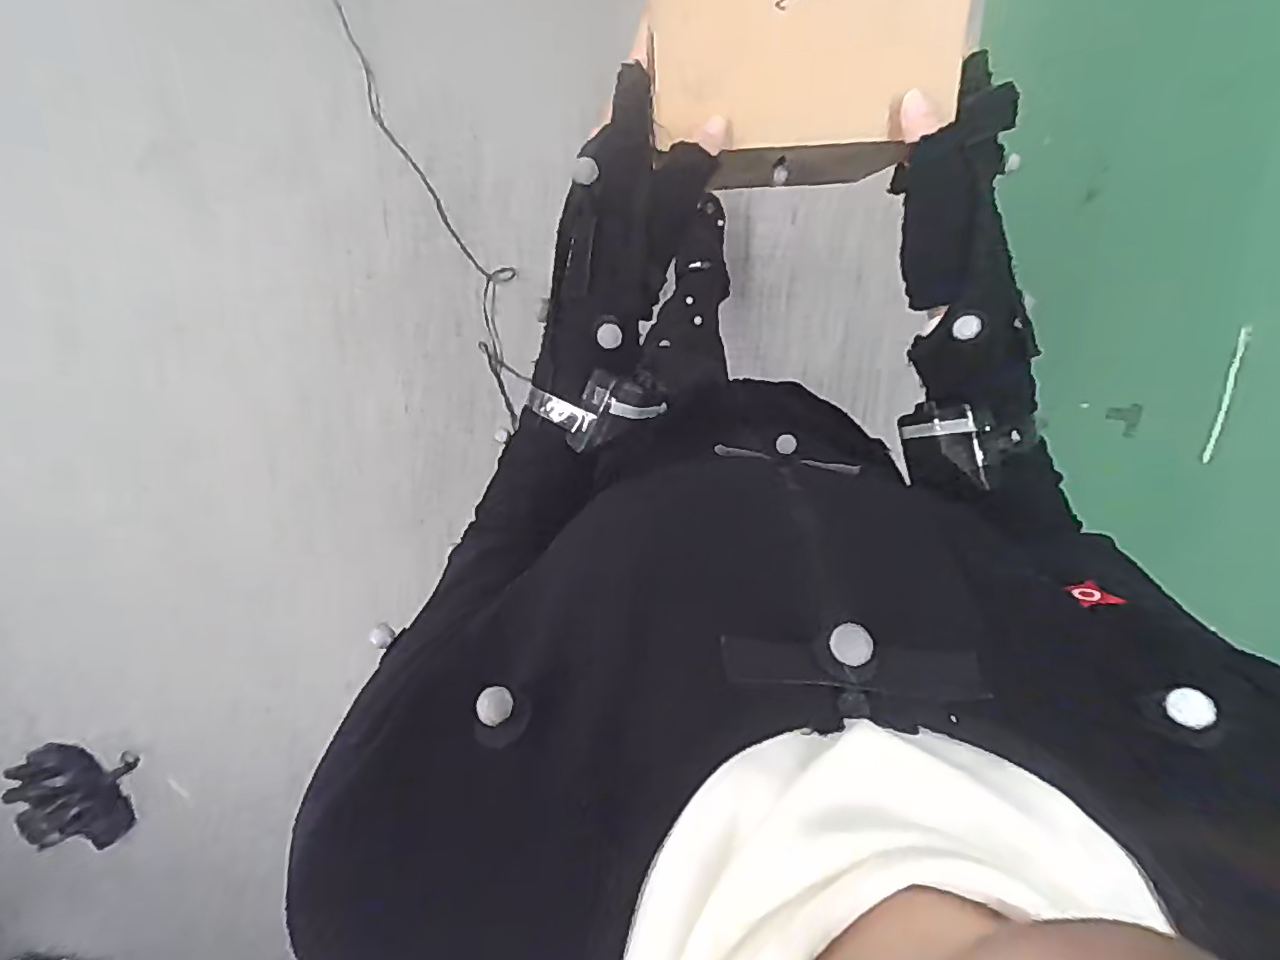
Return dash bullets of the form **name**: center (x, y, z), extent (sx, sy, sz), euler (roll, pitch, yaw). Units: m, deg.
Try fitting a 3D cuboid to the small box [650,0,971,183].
- **small box**: center (0.095, -0.308, 0.364), extent (0.179, 0.176, 0.168), euler (-3, 111, 2)
